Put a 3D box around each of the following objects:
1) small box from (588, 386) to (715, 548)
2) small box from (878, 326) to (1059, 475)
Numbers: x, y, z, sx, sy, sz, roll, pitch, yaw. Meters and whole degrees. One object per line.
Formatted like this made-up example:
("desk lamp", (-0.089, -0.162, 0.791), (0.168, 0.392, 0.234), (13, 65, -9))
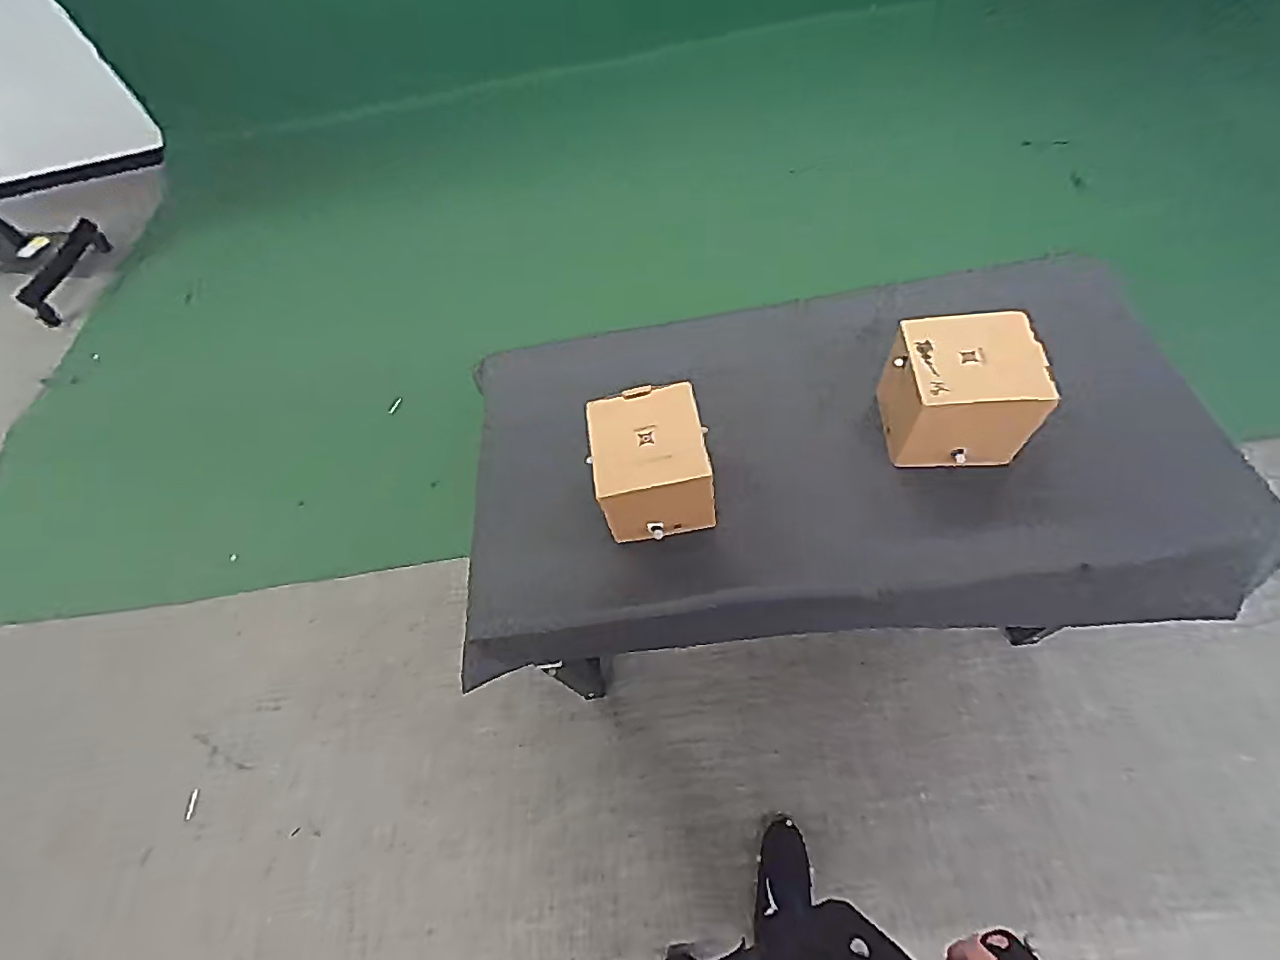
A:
("small box", (0.020, -0.016, 0.842), (0.168, 0.176, 0.179), (-10, 58, 5))
("small box", (0.493, -0.117, 0.843), (0.179, 0.176, 0.168), (-1, 59, 8))
